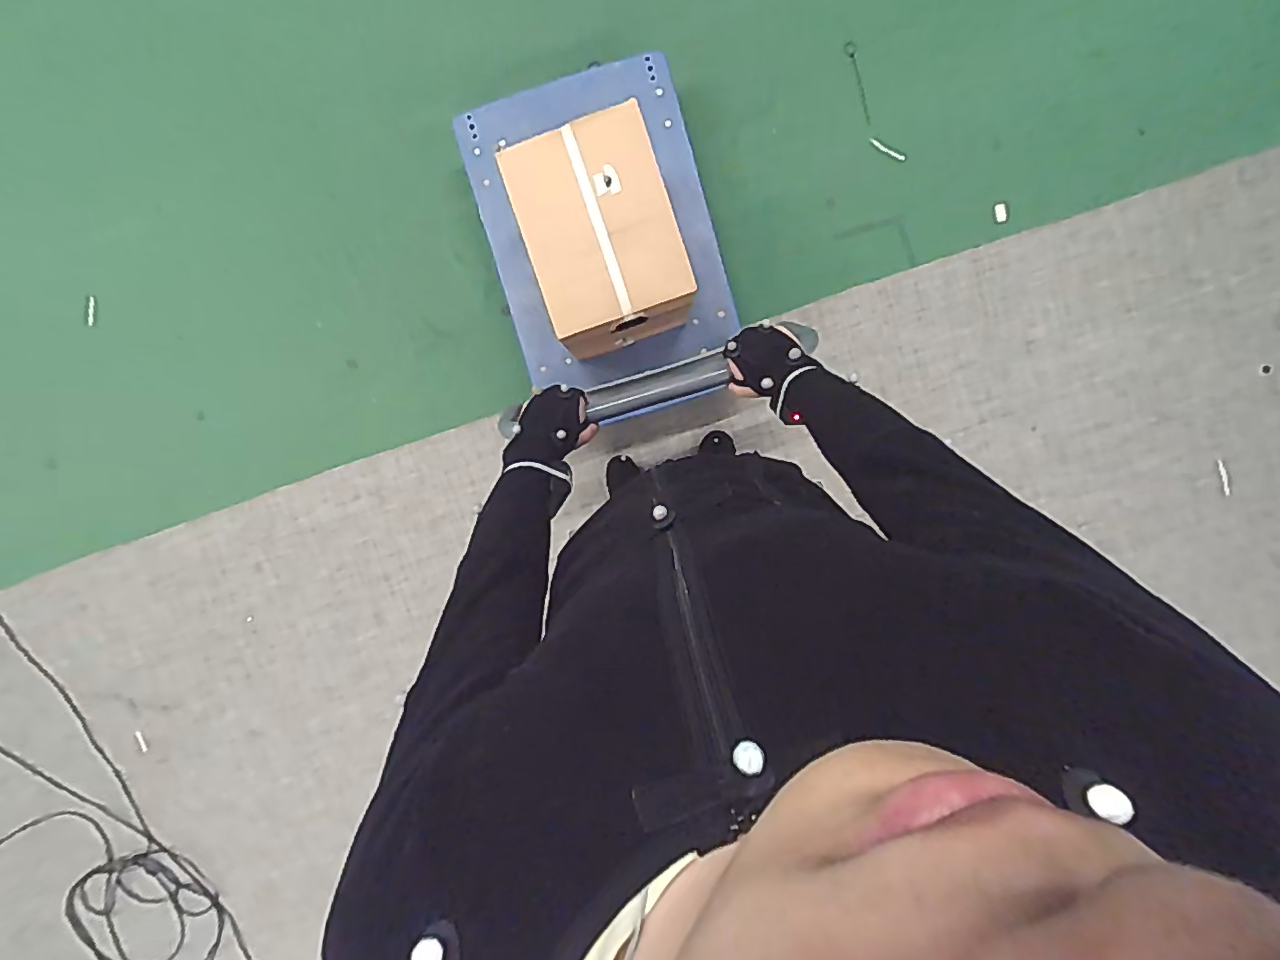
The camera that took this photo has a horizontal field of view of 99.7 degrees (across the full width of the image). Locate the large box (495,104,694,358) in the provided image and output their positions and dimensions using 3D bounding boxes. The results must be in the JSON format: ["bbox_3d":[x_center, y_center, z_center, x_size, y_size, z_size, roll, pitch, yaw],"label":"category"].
[{"bbox_3d":[-0.087,-0.546,1.273,0.320,0.320,0.408,-19,94,3],"label":"large box"}]
